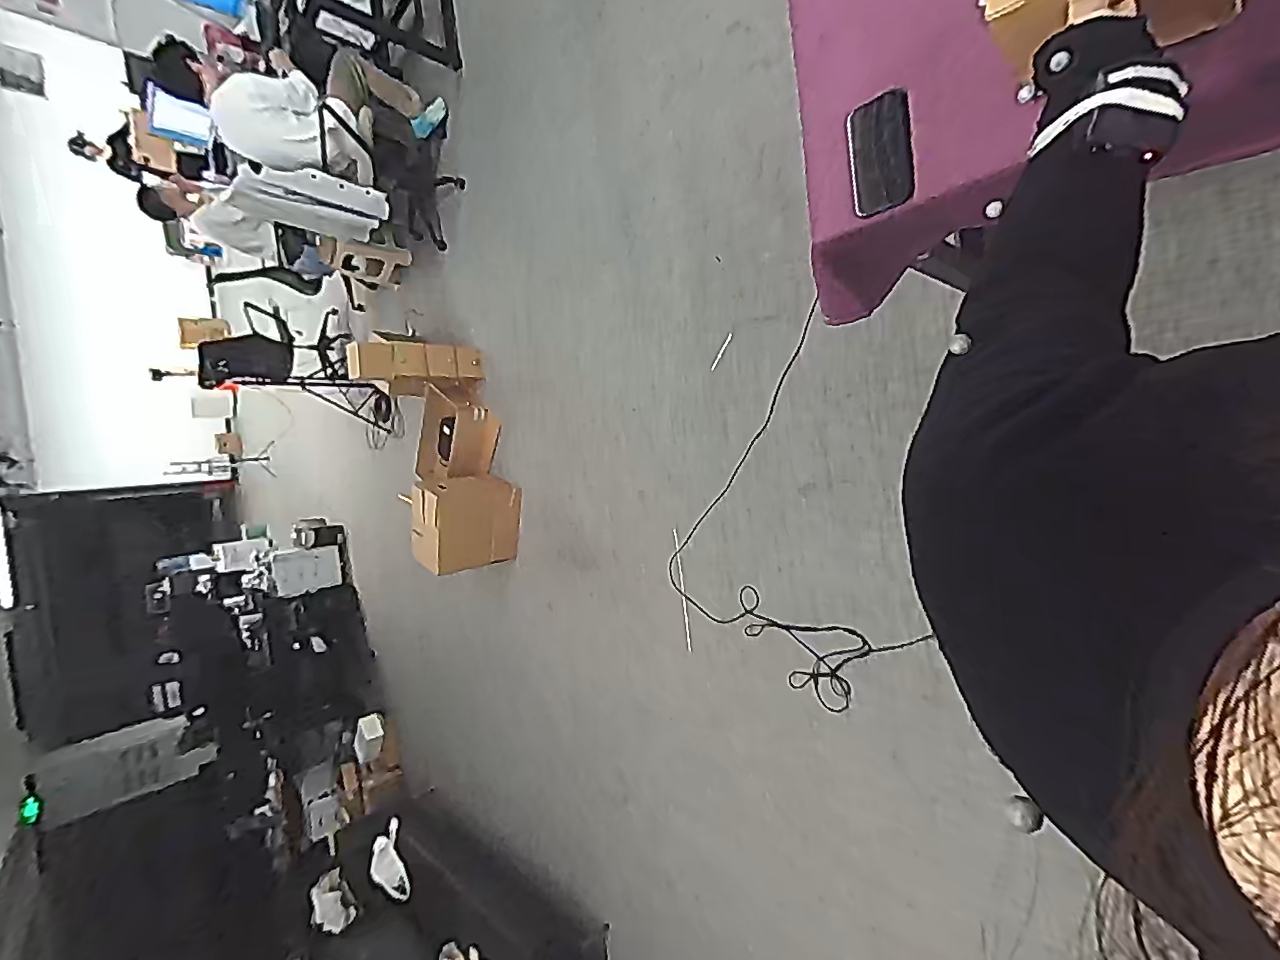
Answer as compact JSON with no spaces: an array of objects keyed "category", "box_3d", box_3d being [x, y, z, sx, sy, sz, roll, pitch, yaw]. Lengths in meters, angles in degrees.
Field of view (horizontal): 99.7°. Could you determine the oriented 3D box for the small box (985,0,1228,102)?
[{"category":"small box","box_3d":[0.454,-0.520,0.521,0.168,0.176,0.179,5,95,47]}]
